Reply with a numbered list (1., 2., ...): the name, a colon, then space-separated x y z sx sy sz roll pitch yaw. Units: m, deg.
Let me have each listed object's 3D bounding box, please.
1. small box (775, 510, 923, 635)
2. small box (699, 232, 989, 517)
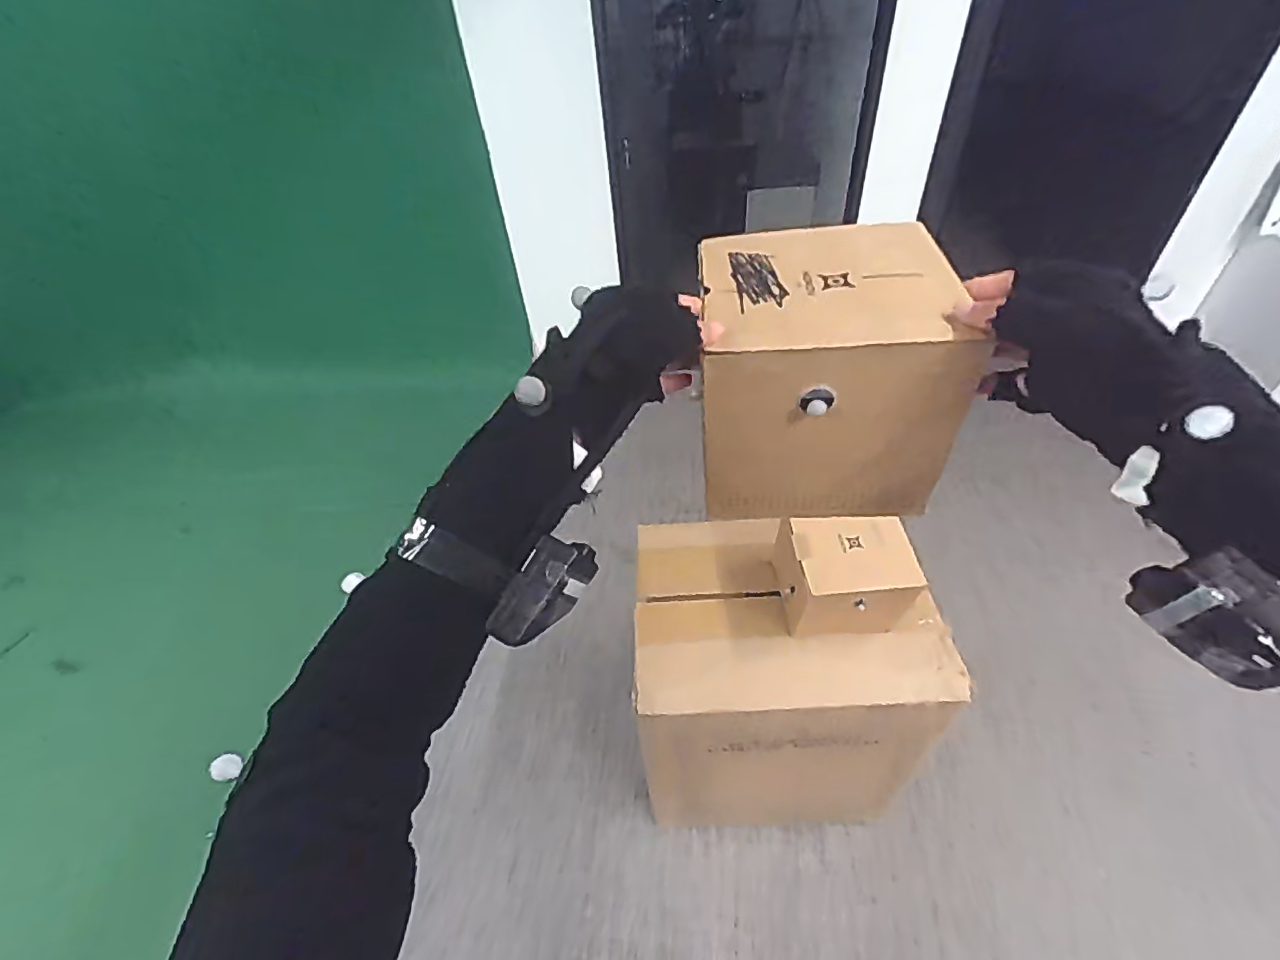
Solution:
1. small box: 0.334 0.150 0.911 0.179 0.176 0.168 -5 52 -1
2. small box: 0.140 -0.082 0.446 0.179 0.176 0.168 -1 47 7
